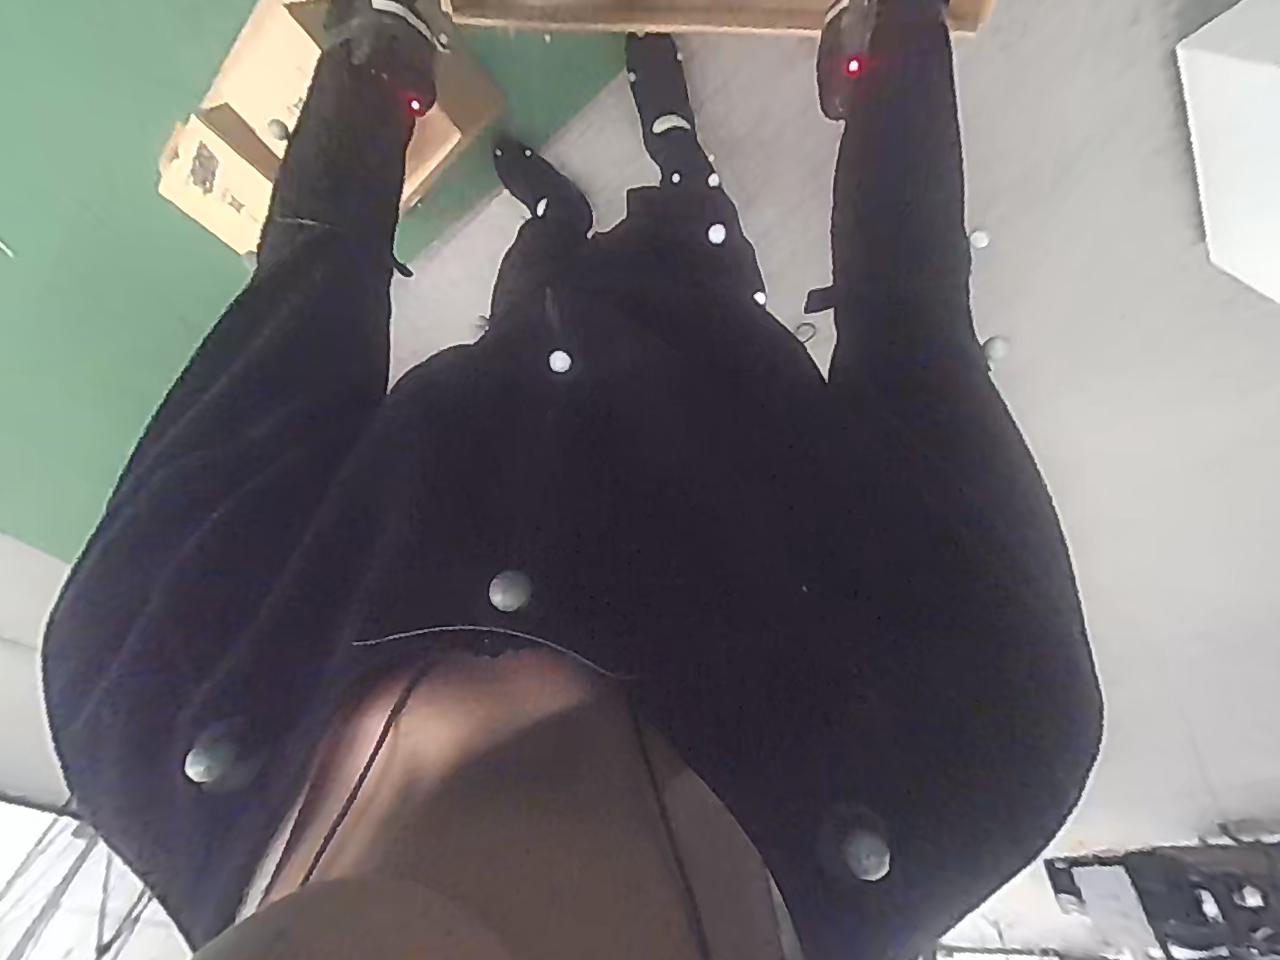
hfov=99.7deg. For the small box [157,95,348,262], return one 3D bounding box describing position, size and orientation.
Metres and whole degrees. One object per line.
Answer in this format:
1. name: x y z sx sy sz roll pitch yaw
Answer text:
1. small box: -0.649 -0.518 0.922 0.168 0.176 0.179 -28 125 30
